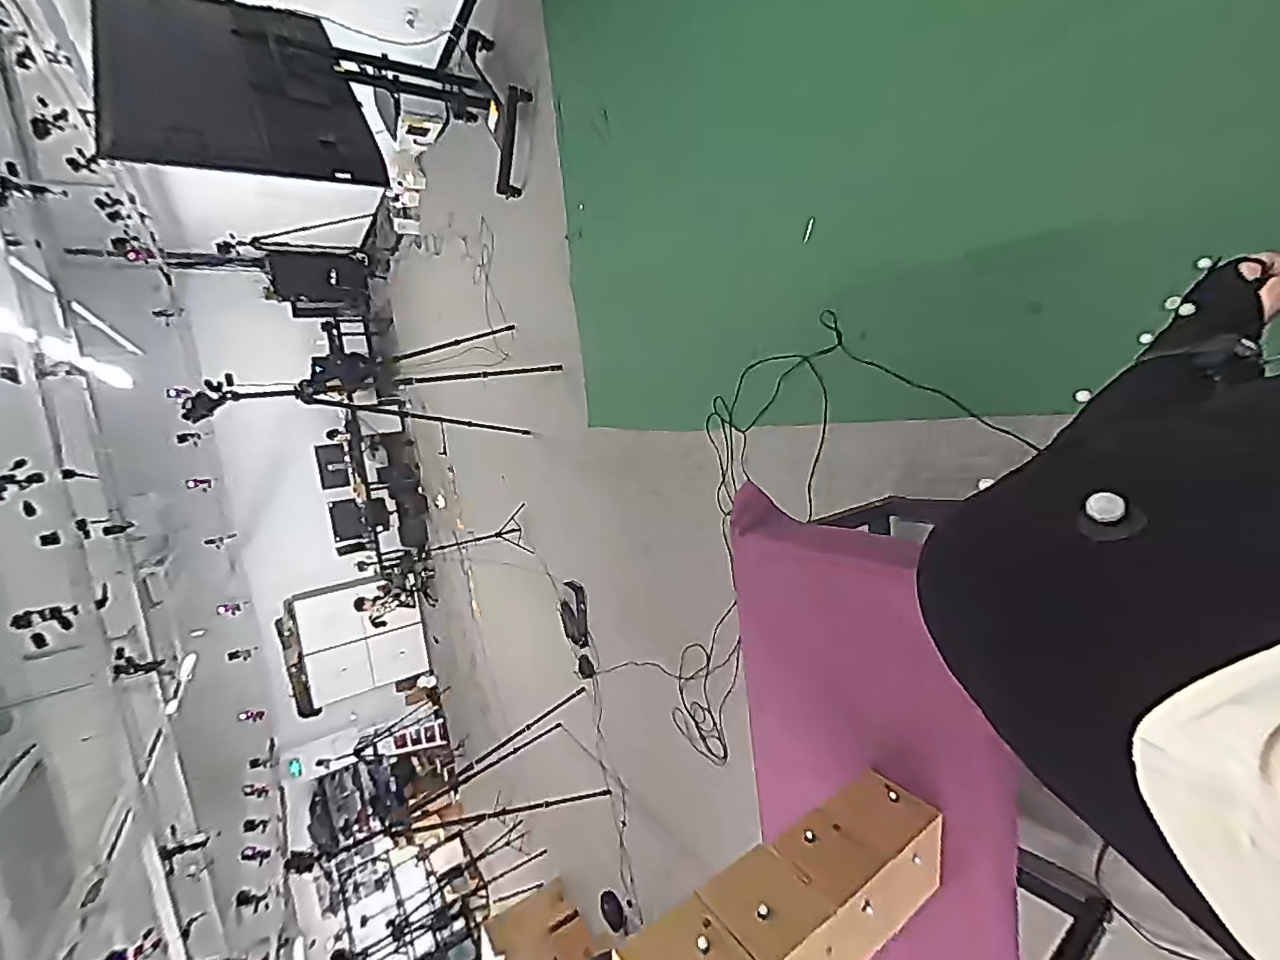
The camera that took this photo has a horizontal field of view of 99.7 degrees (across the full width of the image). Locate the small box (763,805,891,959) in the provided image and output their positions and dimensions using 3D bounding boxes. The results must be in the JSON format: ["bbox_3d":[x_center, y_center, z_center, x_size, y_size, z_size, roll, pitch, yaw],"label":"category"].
[{"bbox_3d":[0.349,0.759,1.013,0.168,0.176,0.179,12,109,55],"label":"small box"}]

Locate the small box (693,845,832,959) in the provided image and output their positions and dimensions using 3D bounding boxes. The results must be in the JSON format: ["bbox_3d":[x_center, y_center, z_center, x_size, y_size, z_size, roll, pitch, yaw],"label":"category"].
[{"bbox_3d":[0.210,0.783,0.930,0.179,0.176,0.168,12,108,55],"label":"small box"}]

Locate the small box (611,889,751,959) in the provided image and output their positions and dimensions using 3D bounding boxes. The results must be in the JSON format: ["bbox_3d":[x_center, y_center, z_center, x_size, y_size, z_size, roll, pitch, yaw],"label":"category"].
[{"bbox_3d":[0.072,0.808,0.844,0.168,0.176,0.179,9,105,56],"label":"small box"}]
